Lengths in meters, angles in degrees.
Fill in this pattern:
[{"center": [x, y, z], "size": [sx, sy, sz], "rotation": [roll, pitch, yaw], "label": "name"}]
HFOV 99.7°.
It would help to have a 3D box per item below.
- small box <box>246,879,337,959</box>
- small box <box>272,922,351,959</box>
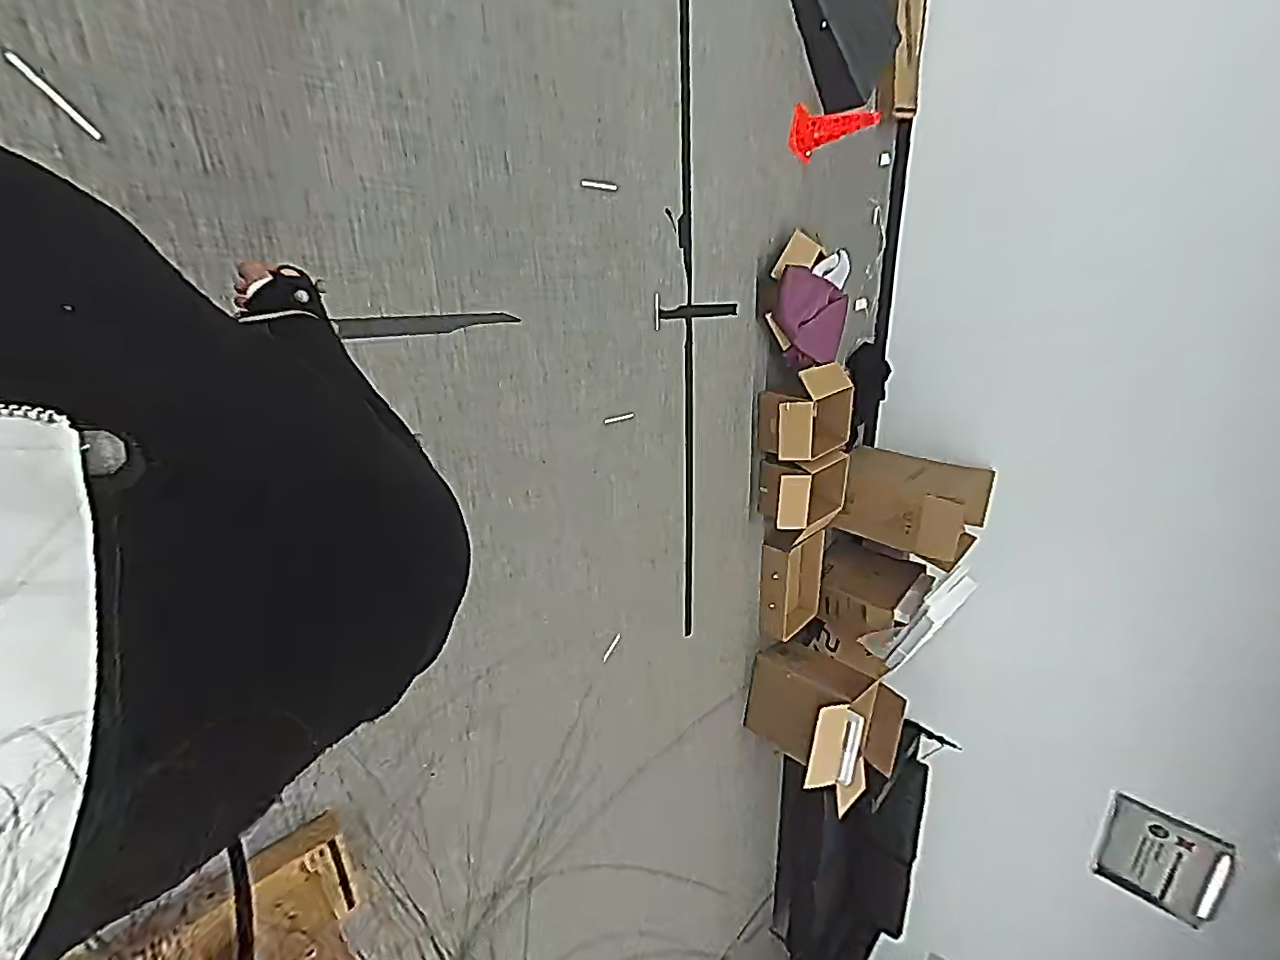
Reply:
[{"center": [-0.913, 1.211, 1.429], "size": [0.168, 0.176, 0.179], "rotation": [-18, 115, -42], "label": "small box"}, {"center": [-0.796, 1.247, 1.322], "size": [0.168, 0.176, 0.179], "rotation": [-26, 120, -39], "label": "small box"}]
